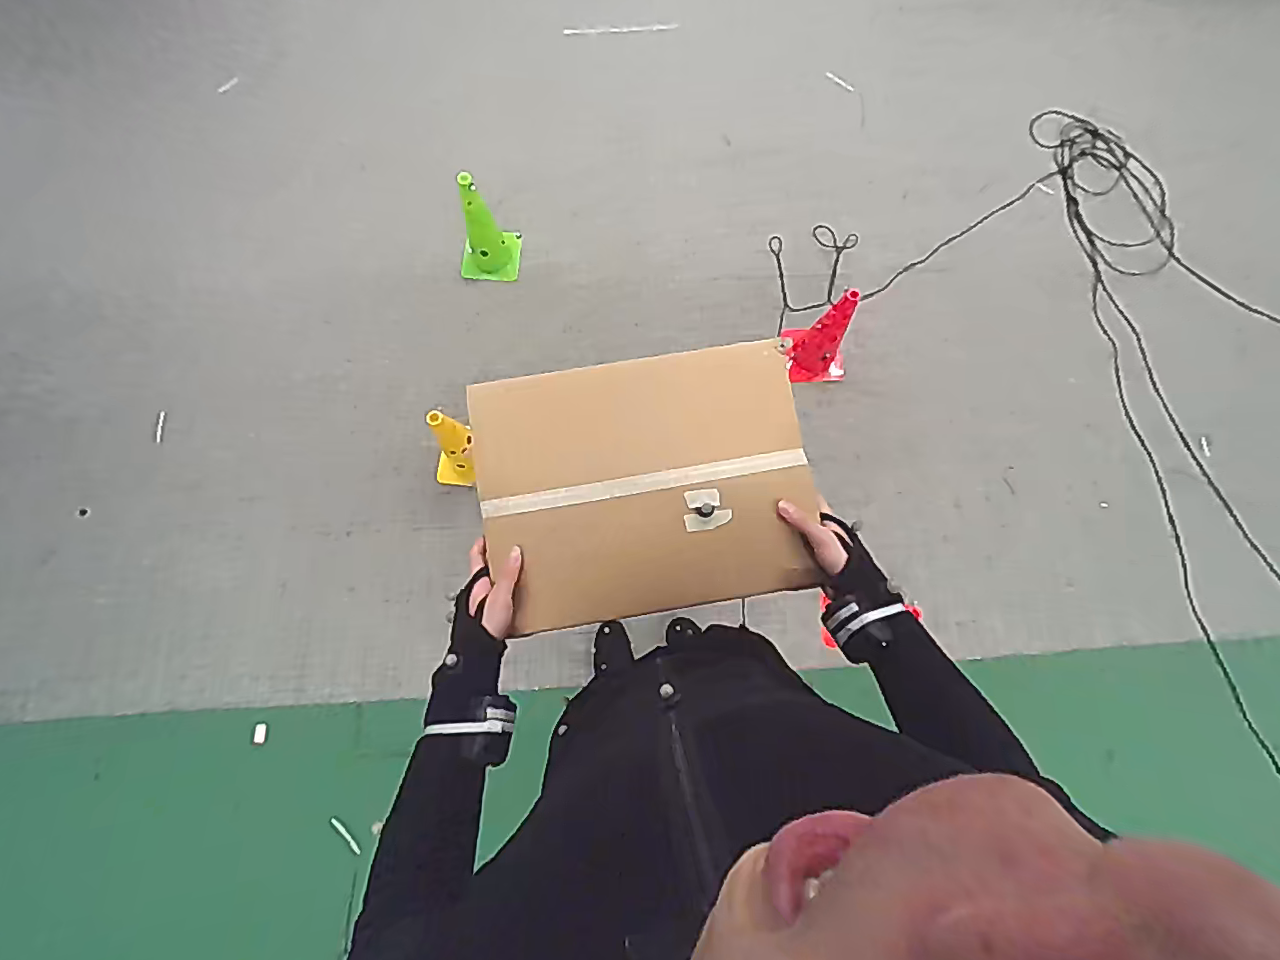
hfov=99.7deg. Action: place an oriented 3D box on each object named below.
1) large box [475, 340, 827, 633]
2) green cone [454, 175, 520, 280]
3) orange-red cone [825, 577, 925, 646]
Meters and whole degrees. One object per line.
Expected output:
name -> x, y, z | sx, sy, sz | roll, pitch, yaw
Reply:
large box -> 0.007, 0.021, 0.821 | 0.408, 0.320, 0.320 | -10, 84, -2
green cone -> -0.533, -0.843, 1.761 | 0.200, 0.368, 0.202 | 2, 77, 0
orange-red cone -> 0.667, 0.359, 1.476 | 0.199, 0.360, 0.198 | 4, 77, -2
